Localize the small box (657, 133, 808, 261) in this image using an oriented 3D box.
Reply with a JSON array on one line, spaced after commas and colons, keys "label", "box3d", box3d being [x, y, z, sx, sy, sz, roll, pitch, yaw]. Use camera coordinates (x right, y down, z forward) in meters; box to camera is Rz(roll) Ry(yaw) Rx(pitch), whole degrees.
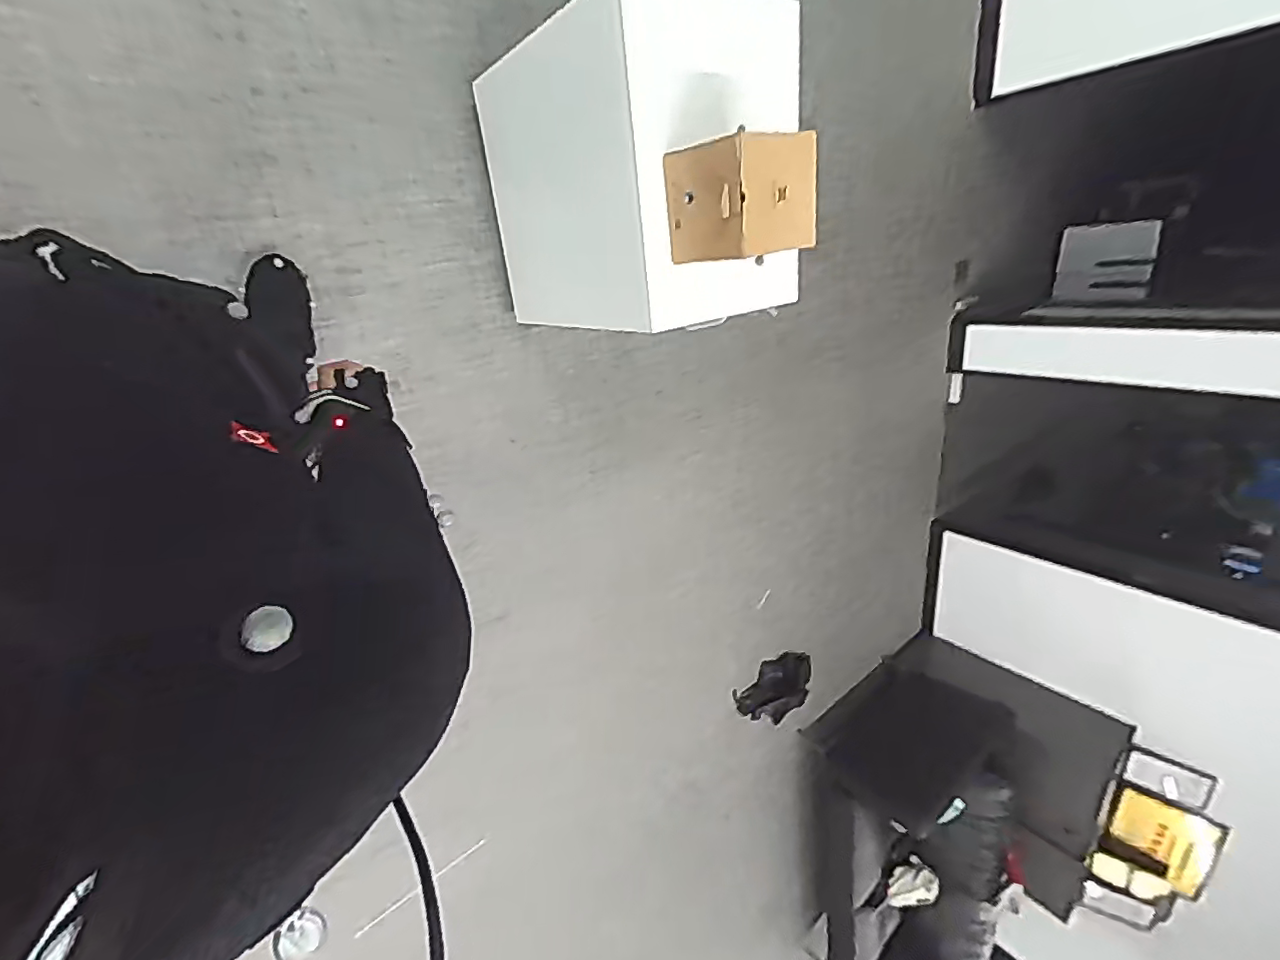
[{"label": "small box", "box3d": [0.151, -0.456, 0.883, 0.179, 0.176, 0.168, -24, 119, -31]}]
